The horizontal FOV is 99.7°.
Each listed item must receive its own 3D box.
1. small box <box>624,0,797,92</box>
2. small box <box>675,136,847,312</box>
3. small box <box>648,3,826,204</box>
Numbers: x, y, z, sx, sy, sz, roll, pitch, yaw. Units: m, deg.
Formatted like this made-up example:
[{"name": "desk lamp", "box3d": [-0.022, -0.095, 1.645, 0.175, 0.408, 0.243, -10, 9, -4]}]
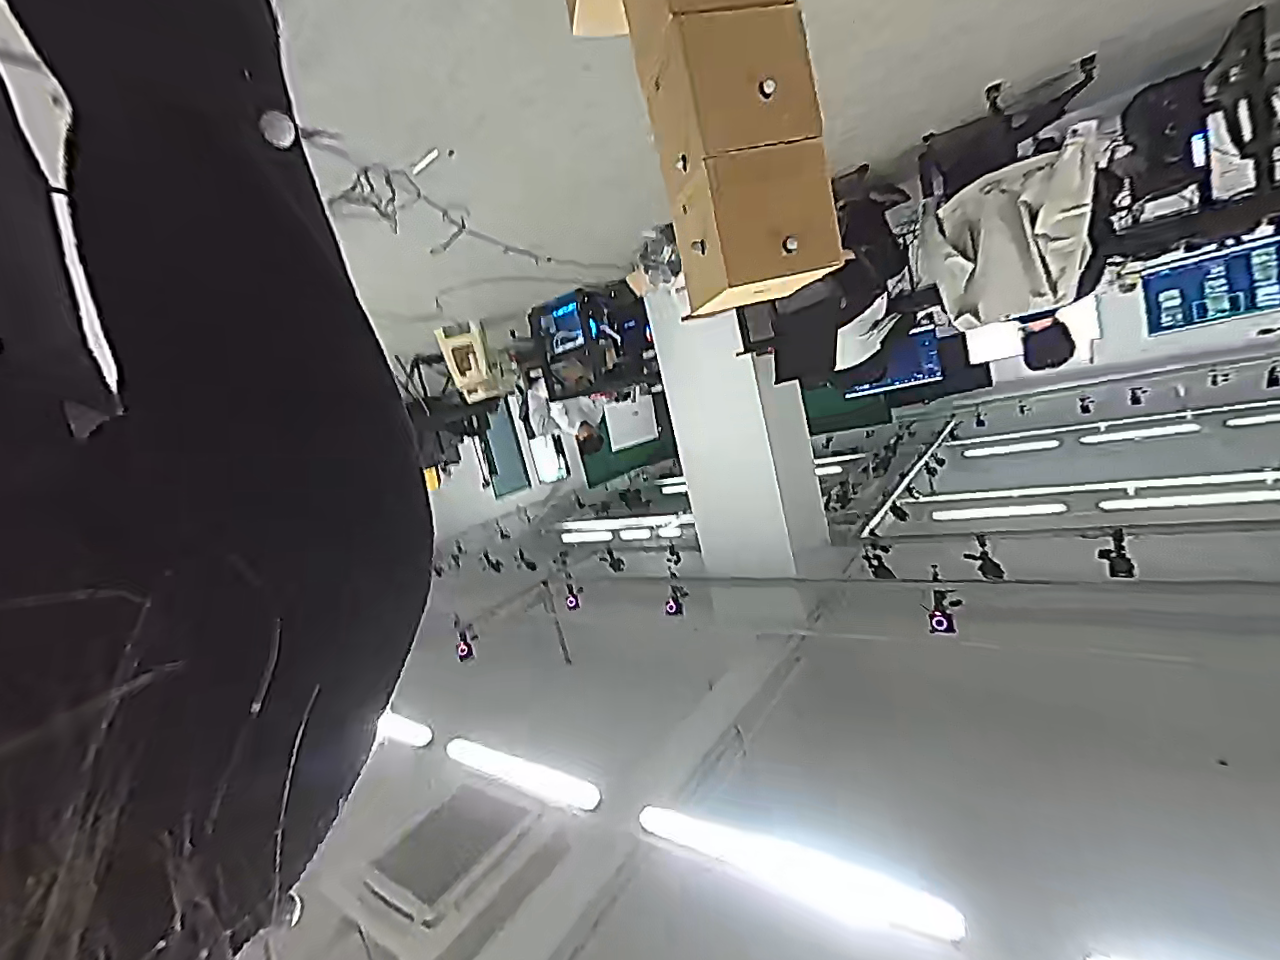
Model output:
[{"name": "small box", "box3d": [0.084, -0.677, 0.737, 0.179, 0.176, 0.168, -15, -172, -11]}, {"name": "small box", "box3d": [0.165, -0.363, 0.785, 0.179, 0.176, 0.168, -16, -172, -10]}, {"name": "small box", "box3d": [0.128, -0.520, 0.760, 0.179, 0.176, 0.168, -16, -172, -10]}]
